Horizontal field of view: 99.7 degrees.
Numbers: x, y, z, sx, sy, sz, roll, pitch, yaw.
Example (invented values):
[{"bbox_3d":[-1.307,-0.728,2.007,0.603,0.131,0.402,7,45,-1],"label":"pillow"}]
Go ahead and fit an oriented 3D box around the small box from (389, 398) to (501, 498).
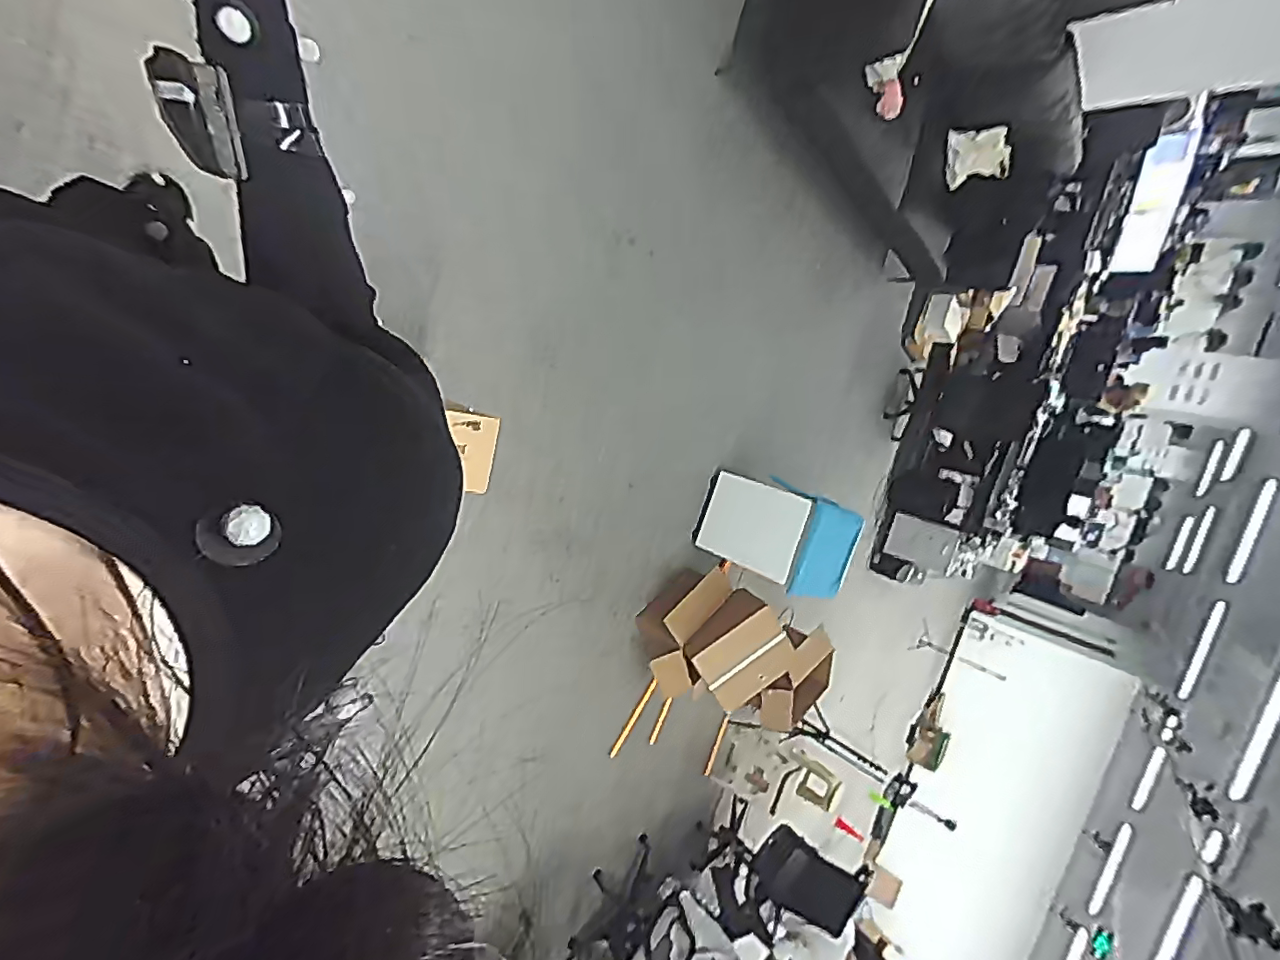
[{"bbox_3d":[-0.439,-0.071,1.204,0.168,0.176,0.179,6,101,-48],"label":"small box"}]
